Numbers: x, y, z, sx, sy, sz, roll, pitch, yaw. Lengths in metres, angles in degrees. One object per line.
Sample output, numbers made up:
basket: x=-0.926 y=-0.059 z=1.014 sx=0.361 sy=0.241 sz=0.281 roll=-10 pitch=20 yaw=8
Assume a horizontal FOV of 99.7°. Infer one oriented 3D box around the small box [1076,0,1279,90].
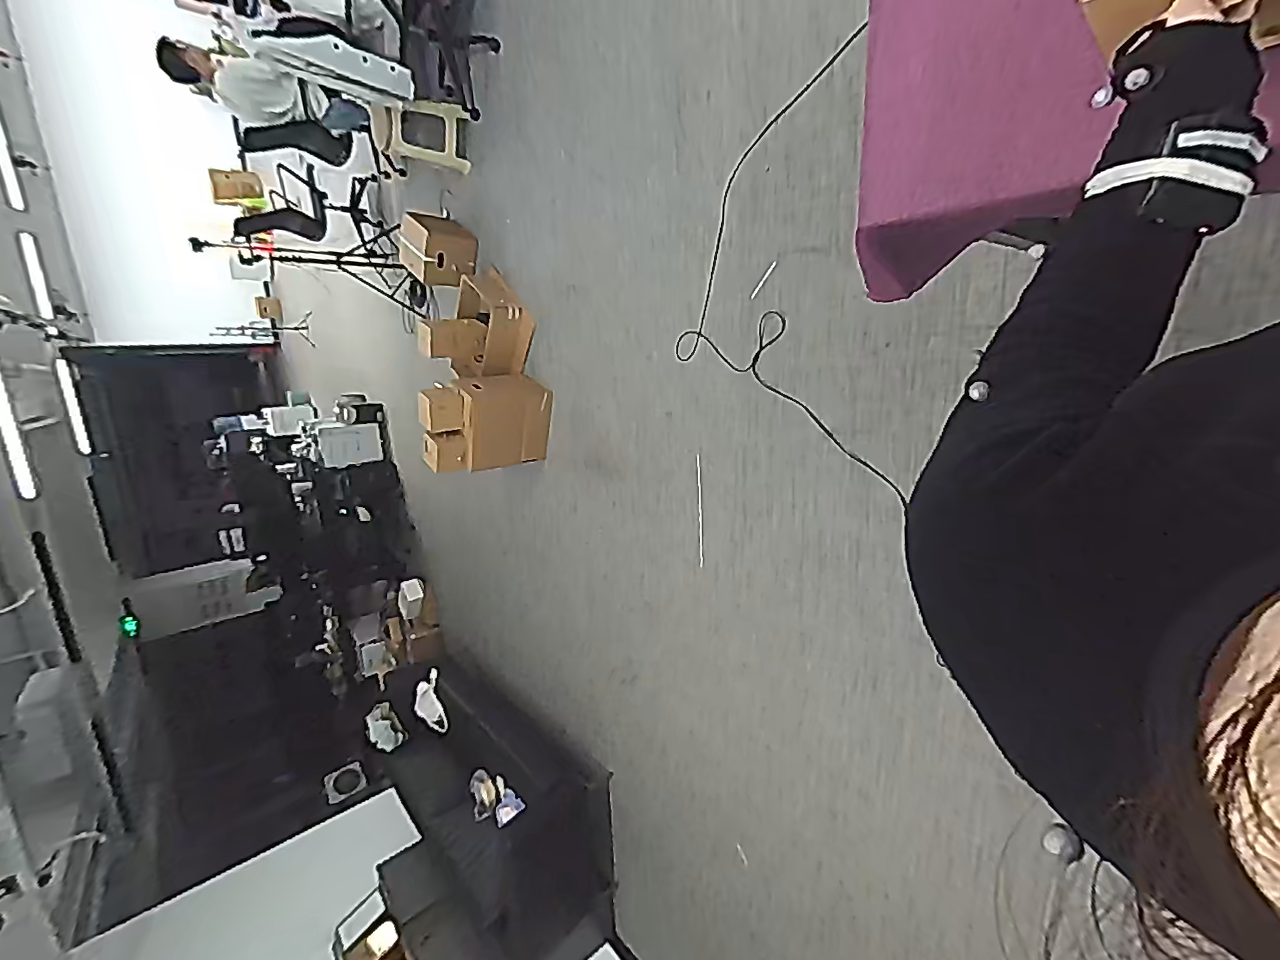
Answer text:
small box: x=0.492 y=-0.476 z=0.445 sx=0.168 sy=0.176 sz=0.179 roll=12 pitch=101 yaw=48
